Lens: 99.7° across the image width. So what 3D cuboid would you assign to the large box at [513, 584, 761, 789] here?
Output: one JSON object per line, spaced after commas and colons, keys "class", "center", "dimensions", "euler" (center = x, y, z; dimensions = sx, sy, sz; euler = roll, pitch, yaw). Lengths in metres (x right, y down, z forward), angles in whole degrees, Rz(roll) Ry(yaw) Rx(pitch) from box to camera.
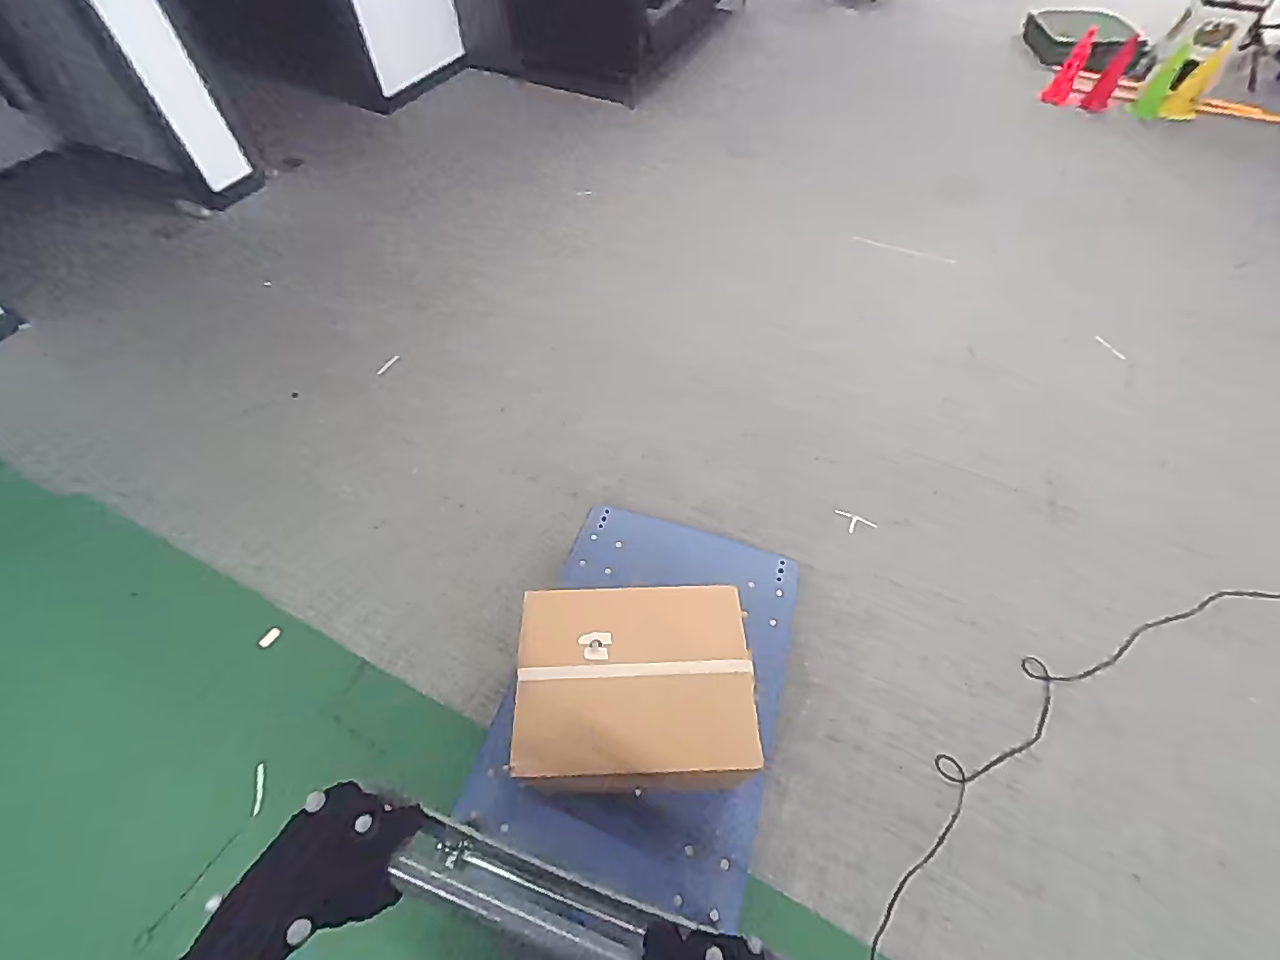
{"class": "large box", "center": [-0.008, 0.416, 1.066], "dimensions": [0.408, 0.320, 0.320], "euler": [-2, 55, -1]}
